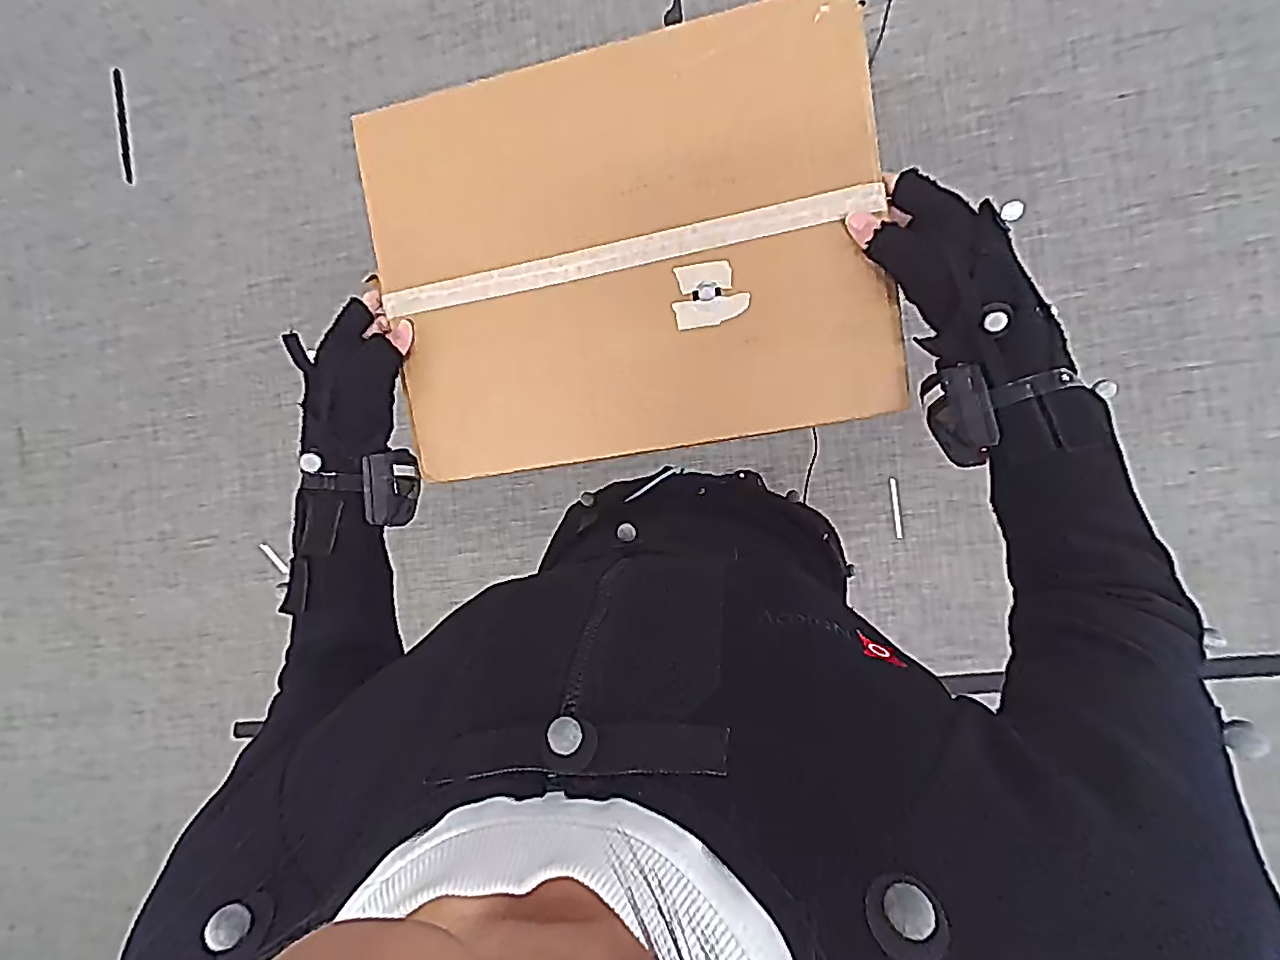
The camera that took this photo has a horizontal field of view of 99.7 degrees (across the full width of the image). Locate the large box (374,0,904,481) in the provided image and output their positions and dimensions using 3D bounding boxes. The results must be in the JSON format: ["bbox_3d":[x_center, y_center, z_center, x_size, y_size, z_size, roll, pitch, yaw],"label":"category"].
[{"bbox_3d":[0.008,-0.194,0.589,0.408,0.320,0.320,-9,95,9],"label":"large box"}]
